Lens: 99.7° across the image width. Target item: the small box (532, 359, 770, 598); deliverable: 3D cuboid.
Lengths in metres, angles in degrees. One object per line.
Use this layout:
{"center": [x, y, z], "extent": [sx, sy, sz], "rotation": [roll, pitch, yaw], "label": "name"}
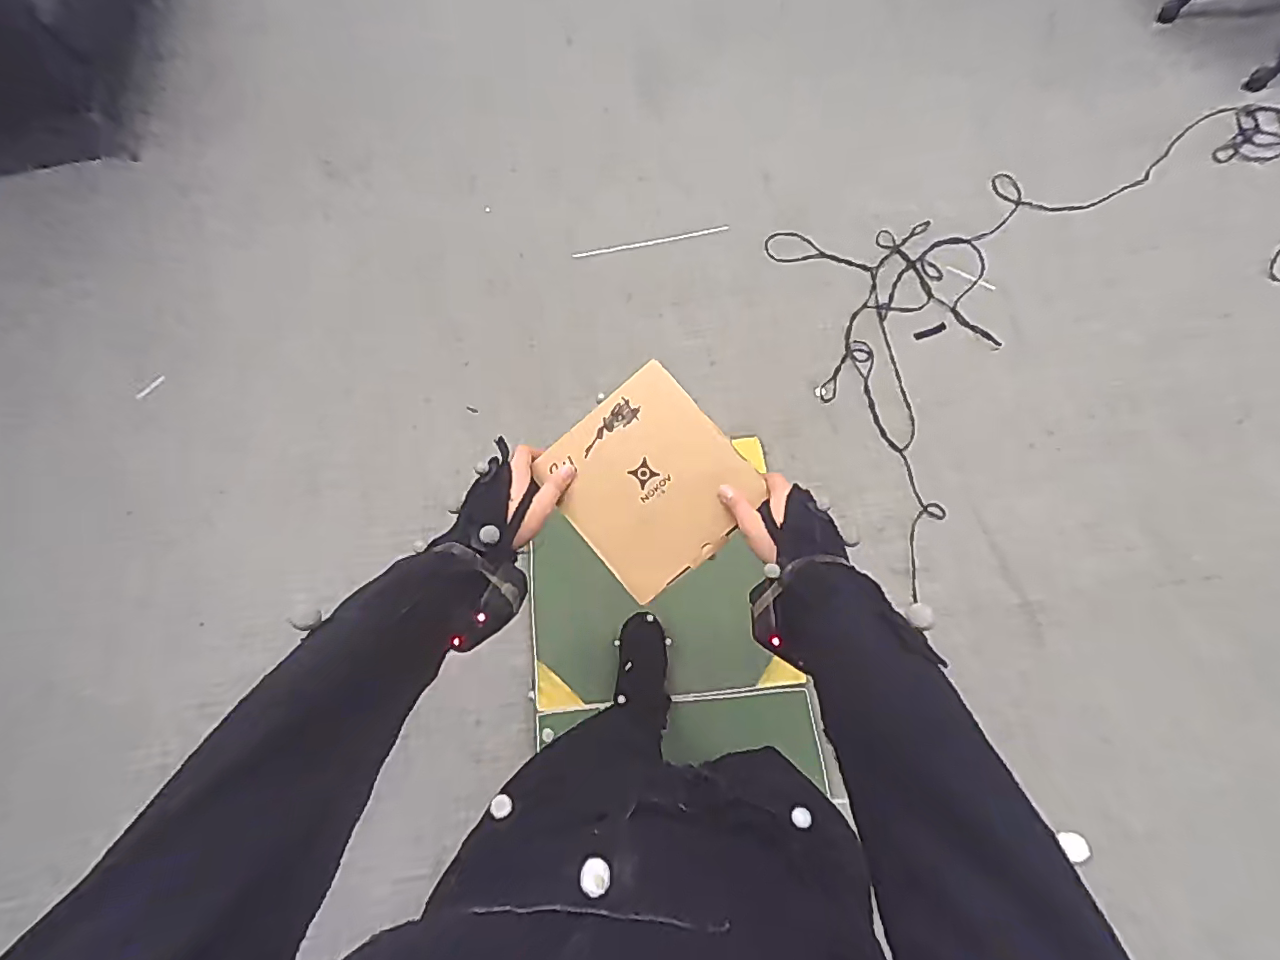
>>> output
{"center": [0.014, 0.001, 0.599], "extent": [0.168, 0.176, 0.179], "rotation": [-41, 85, 0], "label": "small box"}
